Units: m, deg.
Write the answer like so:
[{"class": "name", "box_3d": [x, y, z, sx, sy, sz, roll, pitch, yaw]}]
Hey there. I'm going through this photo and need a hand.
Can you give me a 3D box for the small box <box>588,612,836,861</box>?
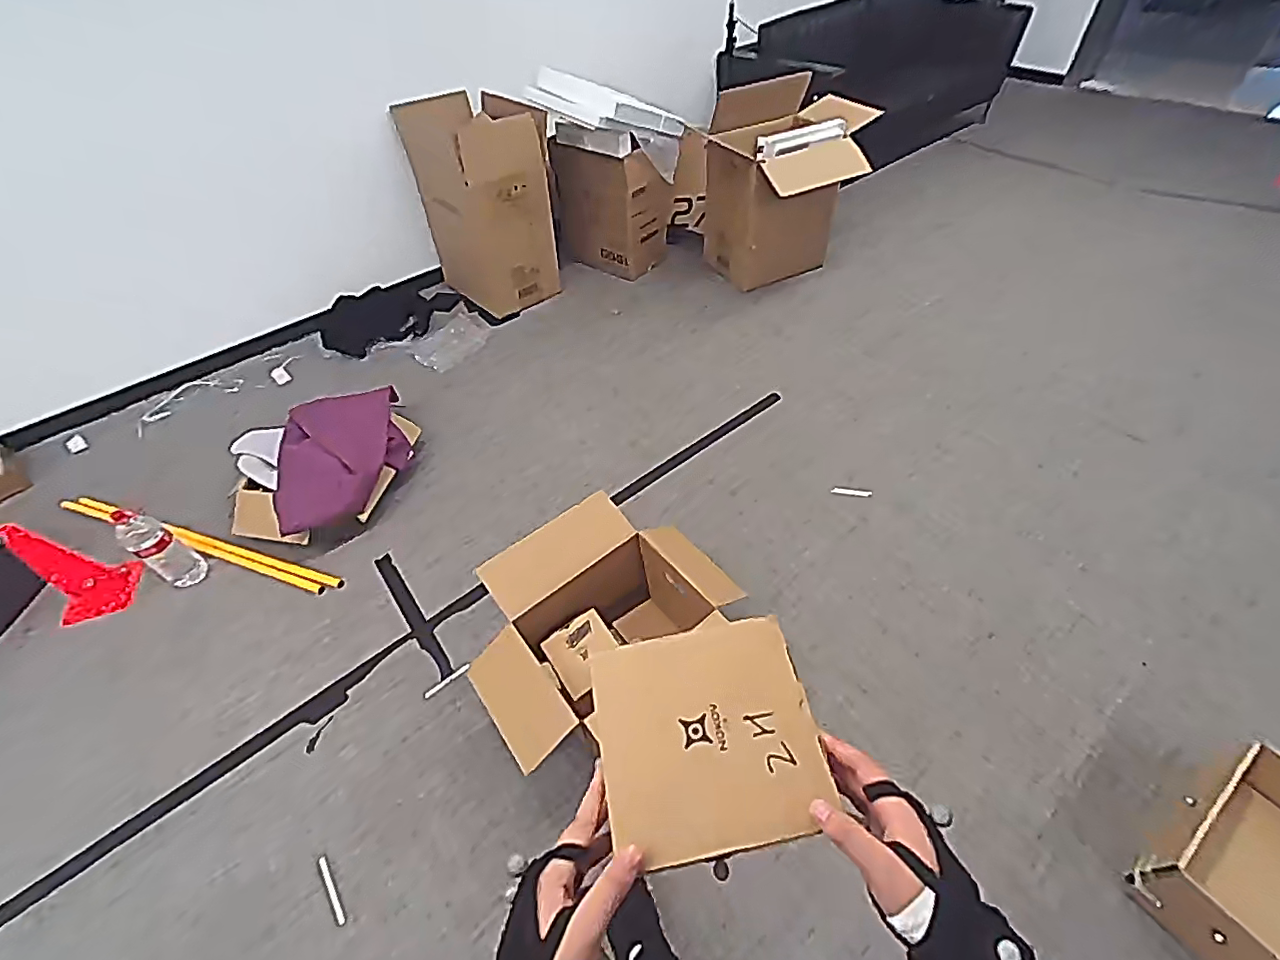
[{"class": "small box", "box_3d": [0.057, 0.248, 0.513, 0.179, 0.176, 0.168, -11, 55, -3]}]
